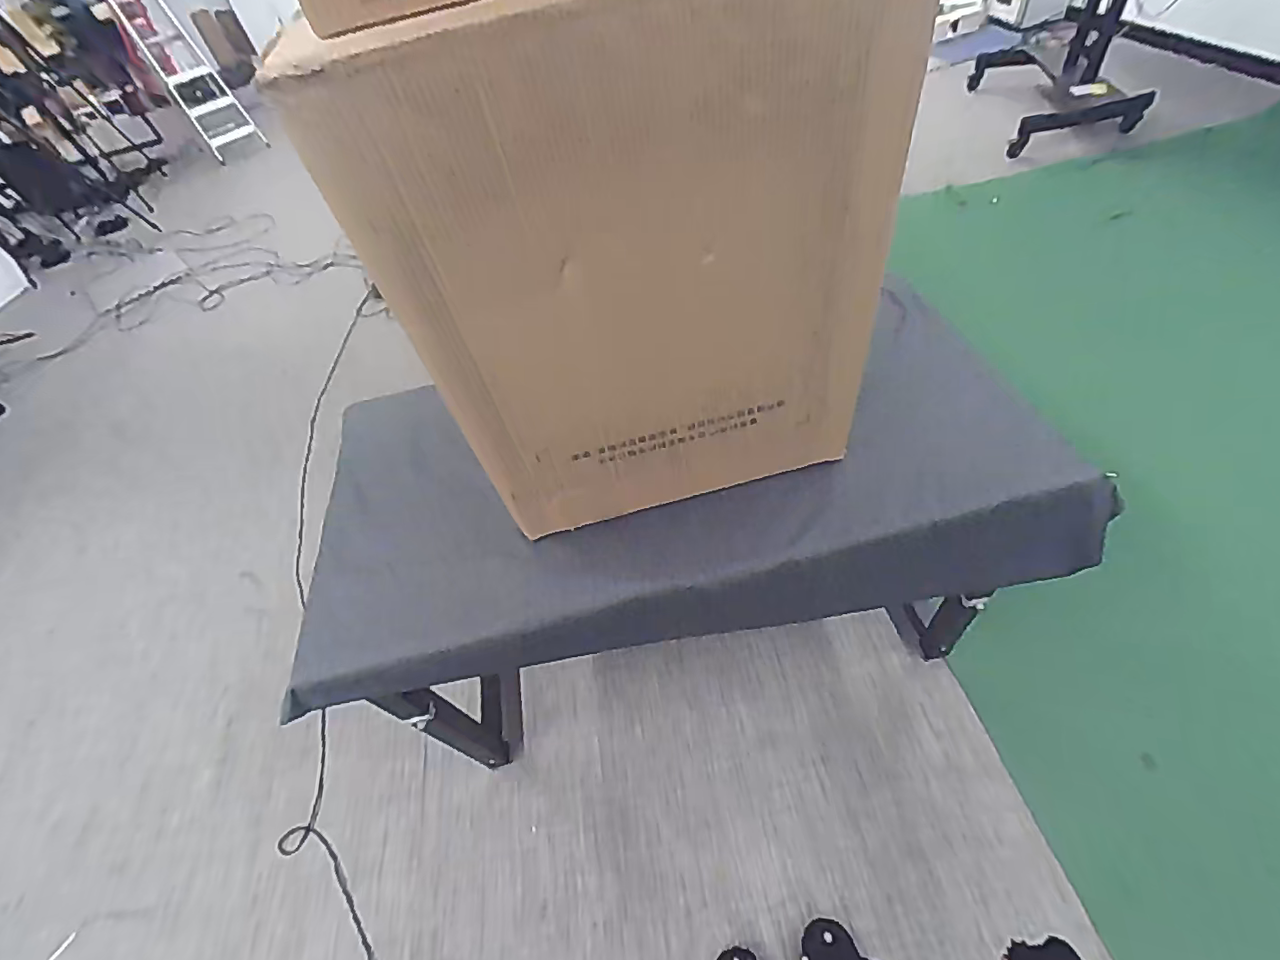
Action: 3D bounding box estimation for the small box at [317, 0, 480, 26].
[{"bbox_3d":[-0.183,-0.461,0.388,0.168,0.176,0.179,-14,54,0],"label":"small box"}]
